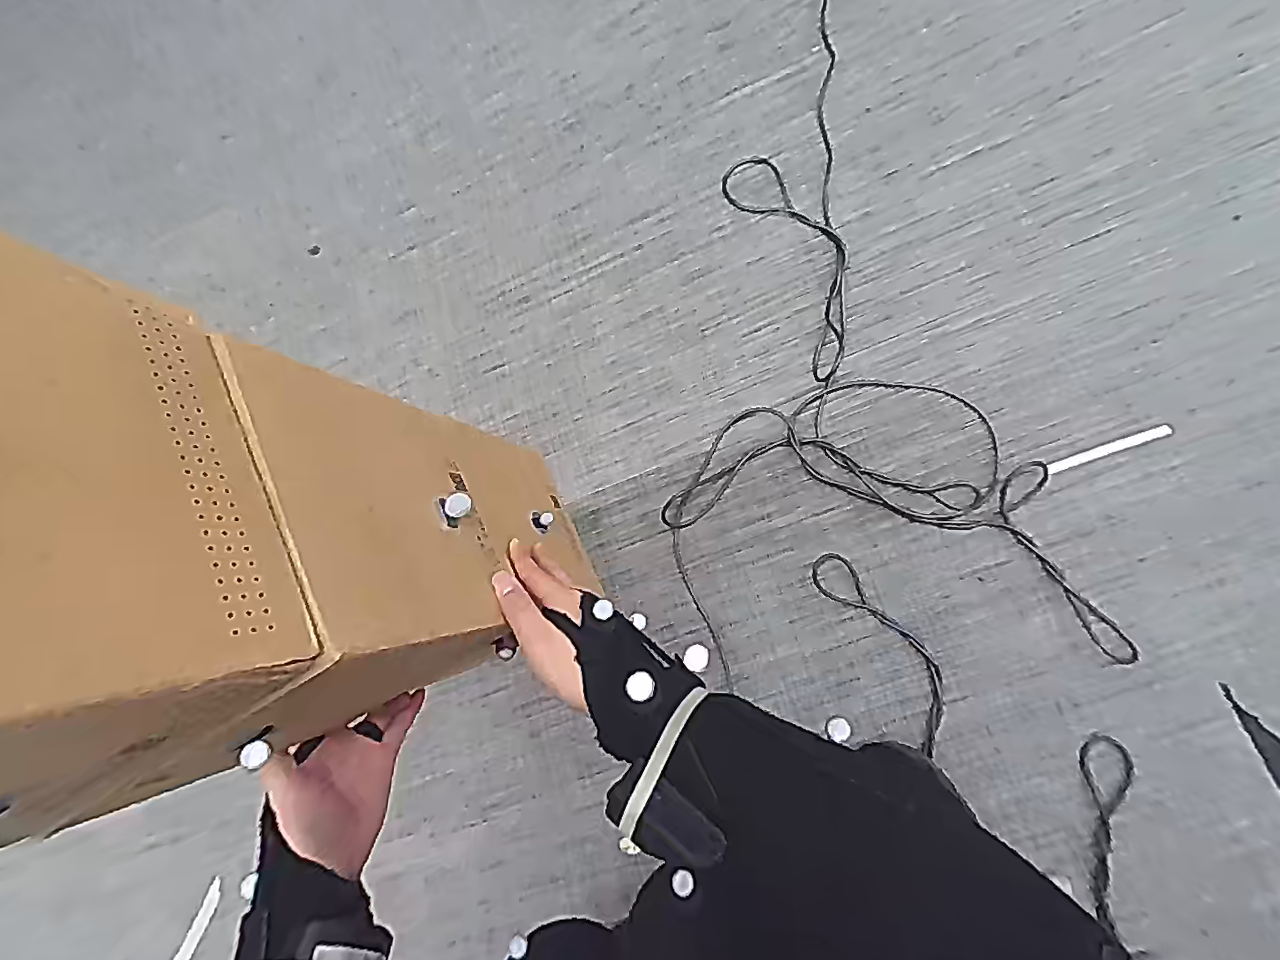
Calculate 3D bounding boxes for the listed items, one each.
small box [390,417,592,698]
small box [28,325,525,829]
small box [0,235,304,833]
[{"bbox_3d":[-0.160,0.071,0.473,0.179,0.176,0.168,-29,75,11],"label":"small box"},{"bbox_3d":[-0.200,0.052,0.314,0.179,0.176,0.168,-31,75,9],"label":"small box"},{"bbox_3d":[-0.249,0.022,0.162,0.168,0.176,0.179,-32,75,9],"label":"small box"}]
